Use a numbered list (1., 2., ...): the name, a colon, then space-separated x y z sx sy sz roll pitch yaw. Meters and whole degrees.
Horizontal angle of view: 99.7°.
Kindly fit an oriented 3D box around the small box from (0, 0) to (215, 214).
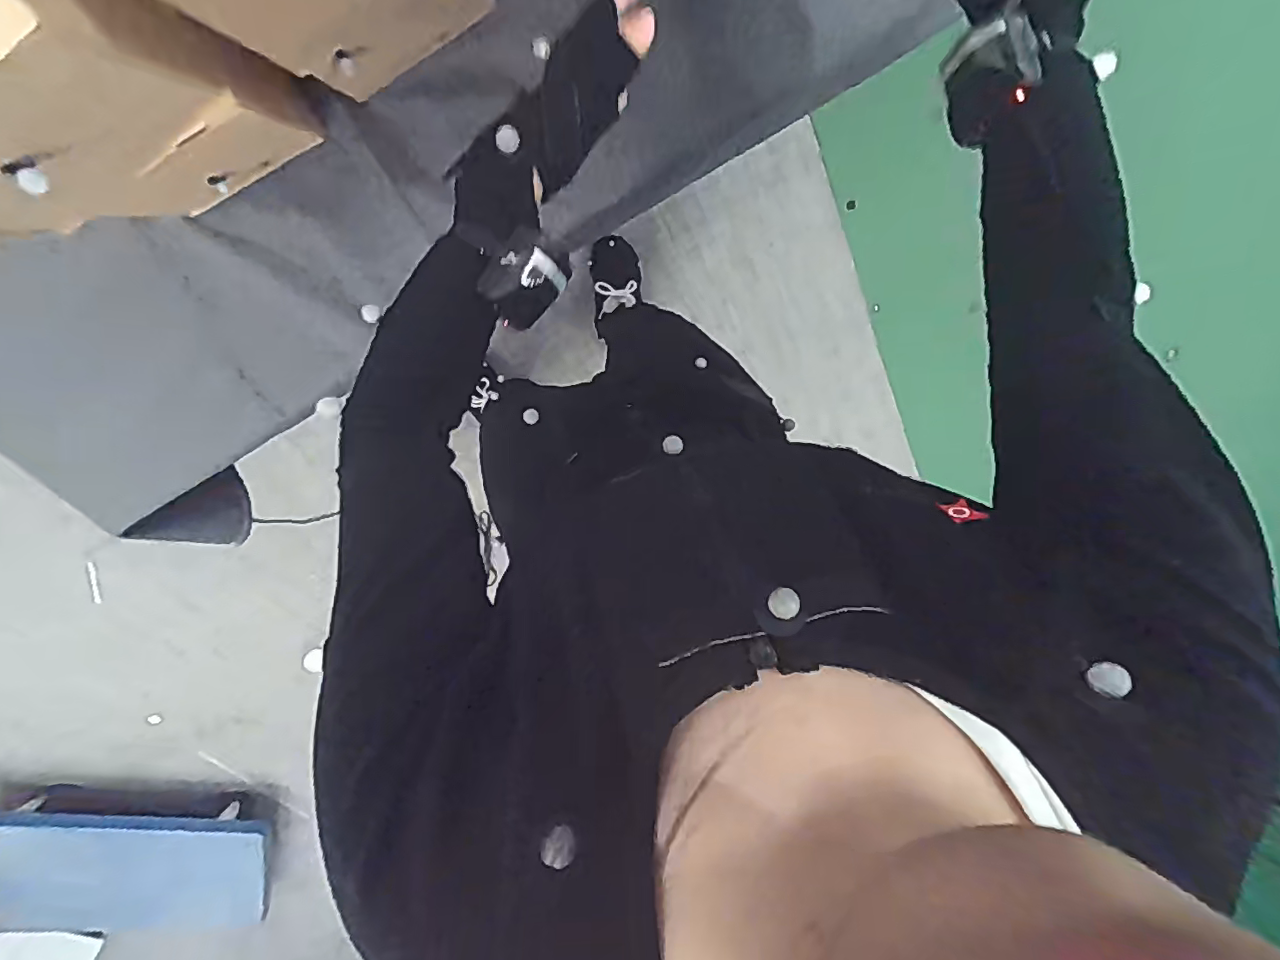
1. small box: -0.397 -0.266 0.296 0.179 0.176 0.168 -34 118 9

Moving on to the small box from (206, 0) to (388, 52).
1. small box: -0.197 -0.371 0.275 0.179 0.176 0.168 -31 116 8
